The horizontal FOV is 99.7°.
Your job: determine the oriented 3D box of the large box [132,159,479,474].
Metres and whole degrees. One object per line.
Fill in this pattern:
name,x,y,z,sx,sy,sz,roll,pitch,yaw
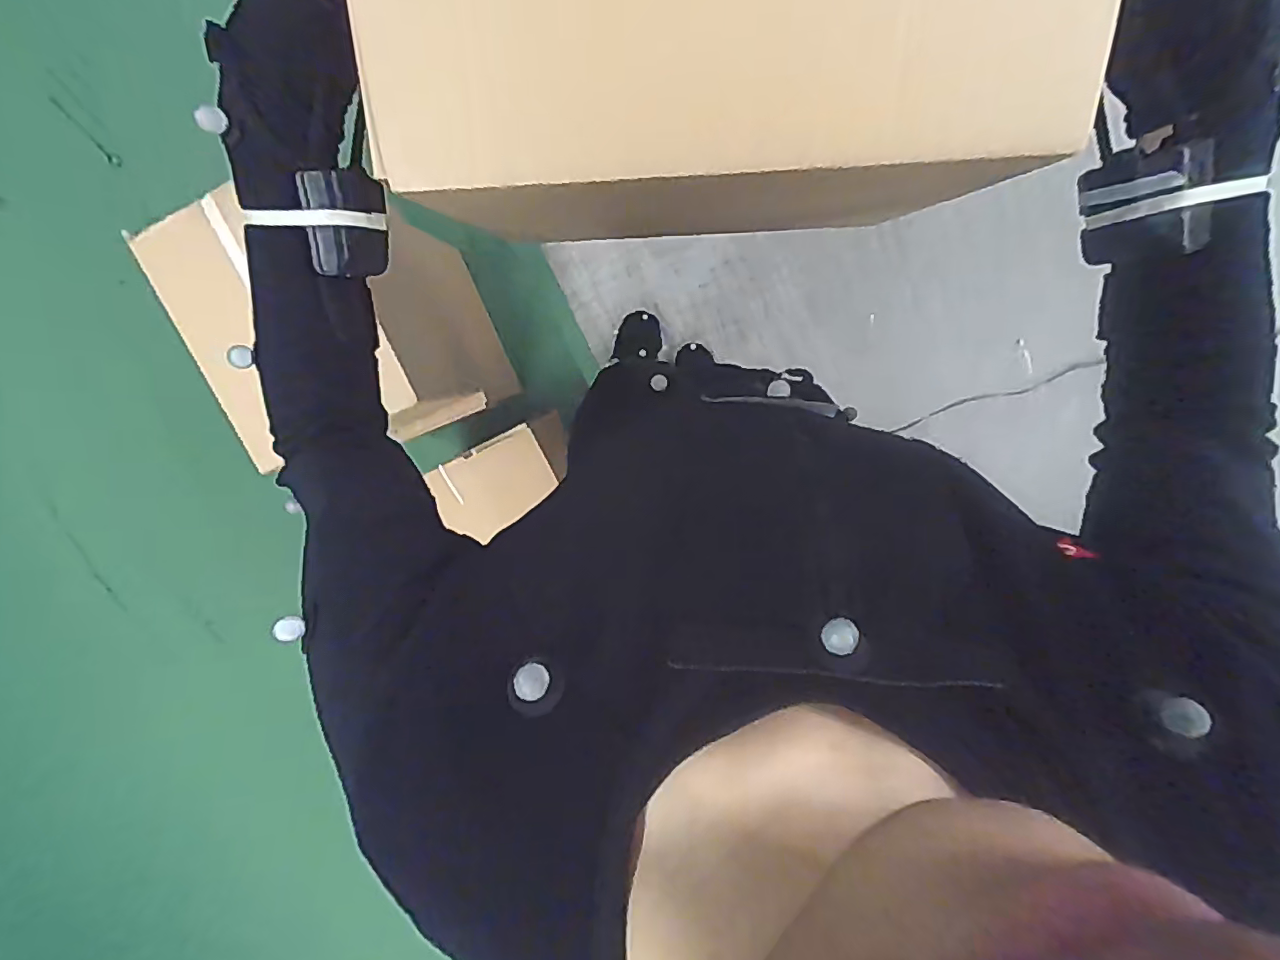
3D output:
large box,-0.564,-0.272,0.997,0.320,0.320,0.408,-23,99,7
